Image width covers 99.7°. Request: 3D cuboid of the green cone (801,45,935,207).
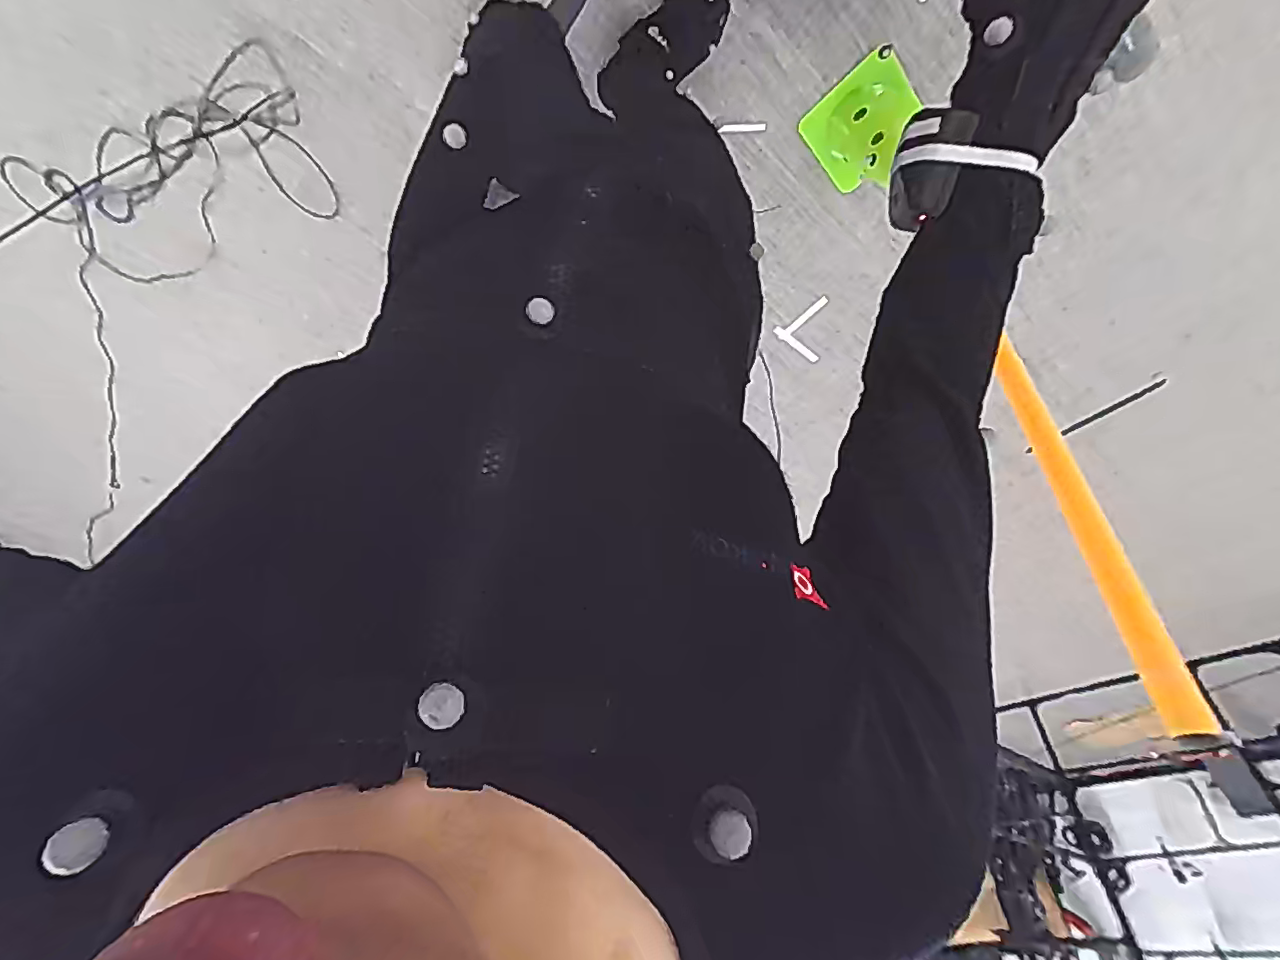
[{"bbox_3d":[0.460,-0.606,1.005,0.202,0.368,0.200,31,131,-31],"label":"green cone"}]
